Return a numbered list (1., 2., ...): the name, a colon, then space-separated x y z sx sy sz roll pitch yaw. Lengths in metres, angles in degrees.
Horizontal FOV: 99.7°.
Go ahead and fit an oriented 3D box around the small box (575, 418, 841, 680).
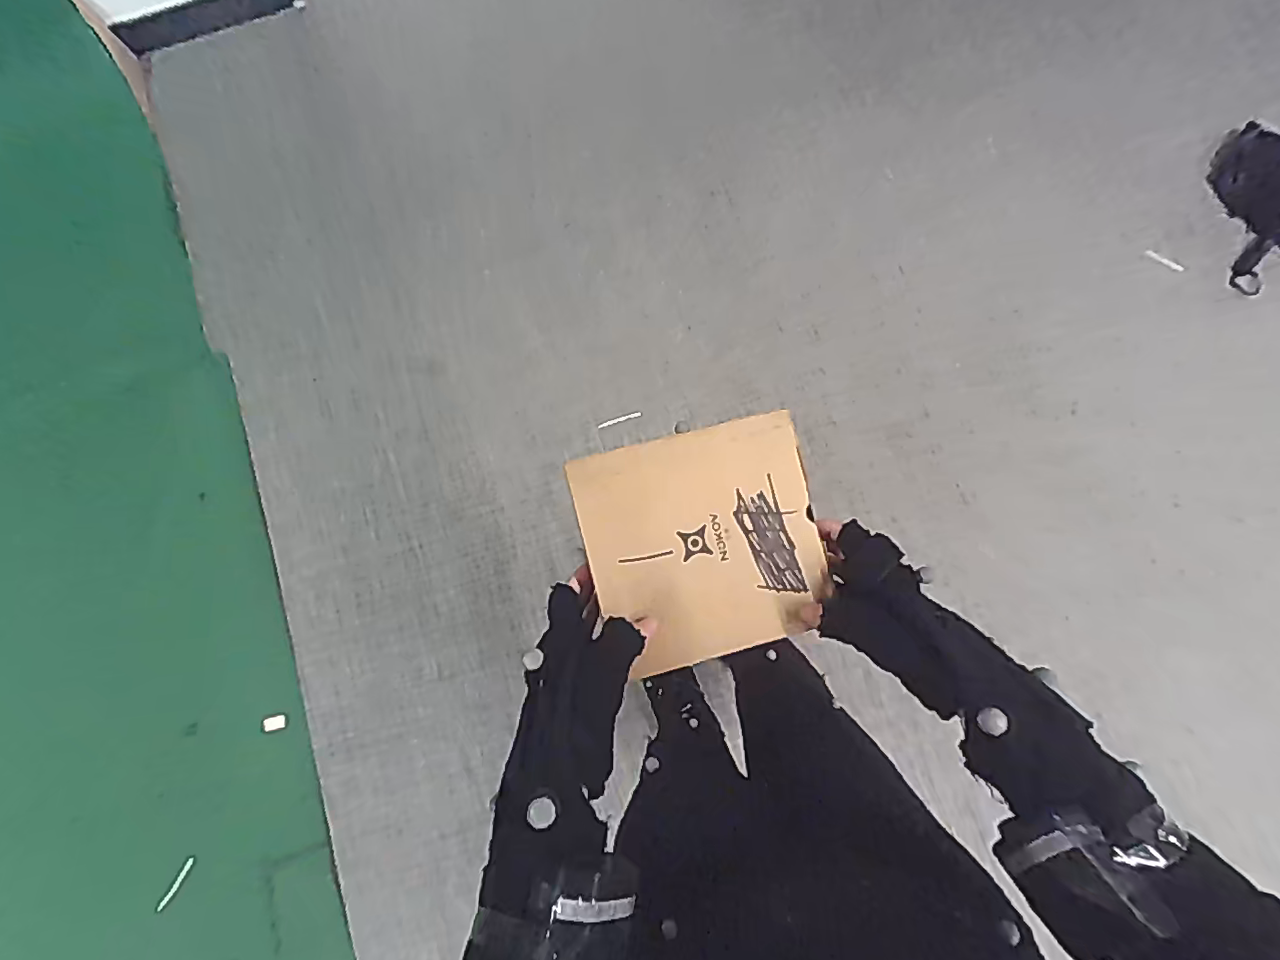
1. small box: 0.045 0.054 0.485 0.179 0.176 0.168 -14 86 -5
